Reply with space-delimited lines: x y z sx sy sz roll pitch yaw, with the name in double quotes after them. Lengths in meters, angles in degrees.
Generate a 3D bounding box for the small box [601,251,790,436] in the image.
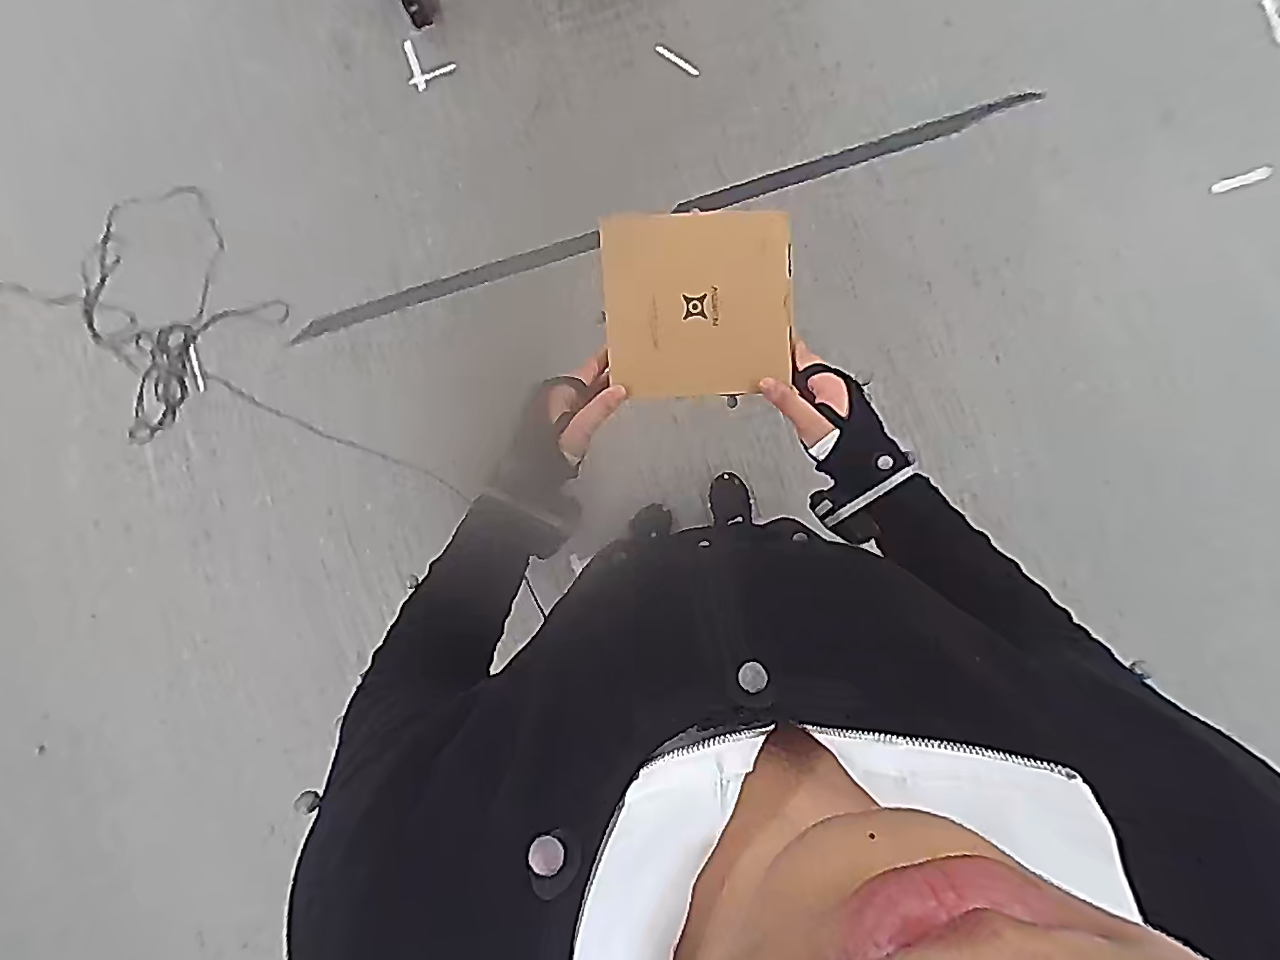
0.052 -0.141 0.592 0.179 0.176 0.168 -5 98 -1 "small box"
